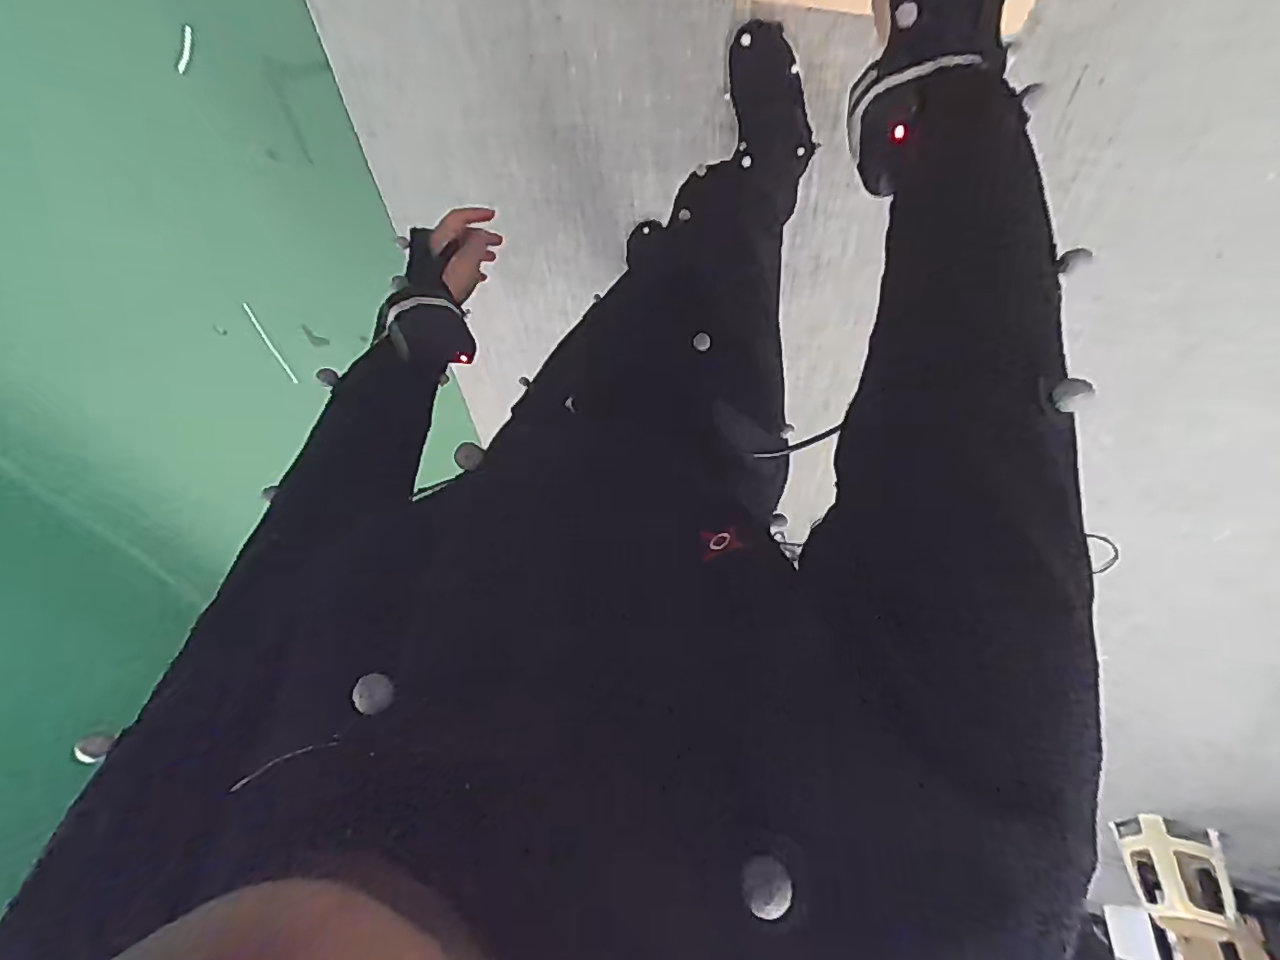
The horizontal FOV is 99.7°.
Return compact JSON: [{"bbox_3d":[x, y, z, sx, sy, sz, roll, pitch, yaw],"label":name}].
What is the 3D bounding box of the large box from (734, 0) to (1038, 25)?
[{"bbox_3d":[0.268,-0.744,0.591,0.408,0.320,0.320,12,142,6],"label":"large box"}]
